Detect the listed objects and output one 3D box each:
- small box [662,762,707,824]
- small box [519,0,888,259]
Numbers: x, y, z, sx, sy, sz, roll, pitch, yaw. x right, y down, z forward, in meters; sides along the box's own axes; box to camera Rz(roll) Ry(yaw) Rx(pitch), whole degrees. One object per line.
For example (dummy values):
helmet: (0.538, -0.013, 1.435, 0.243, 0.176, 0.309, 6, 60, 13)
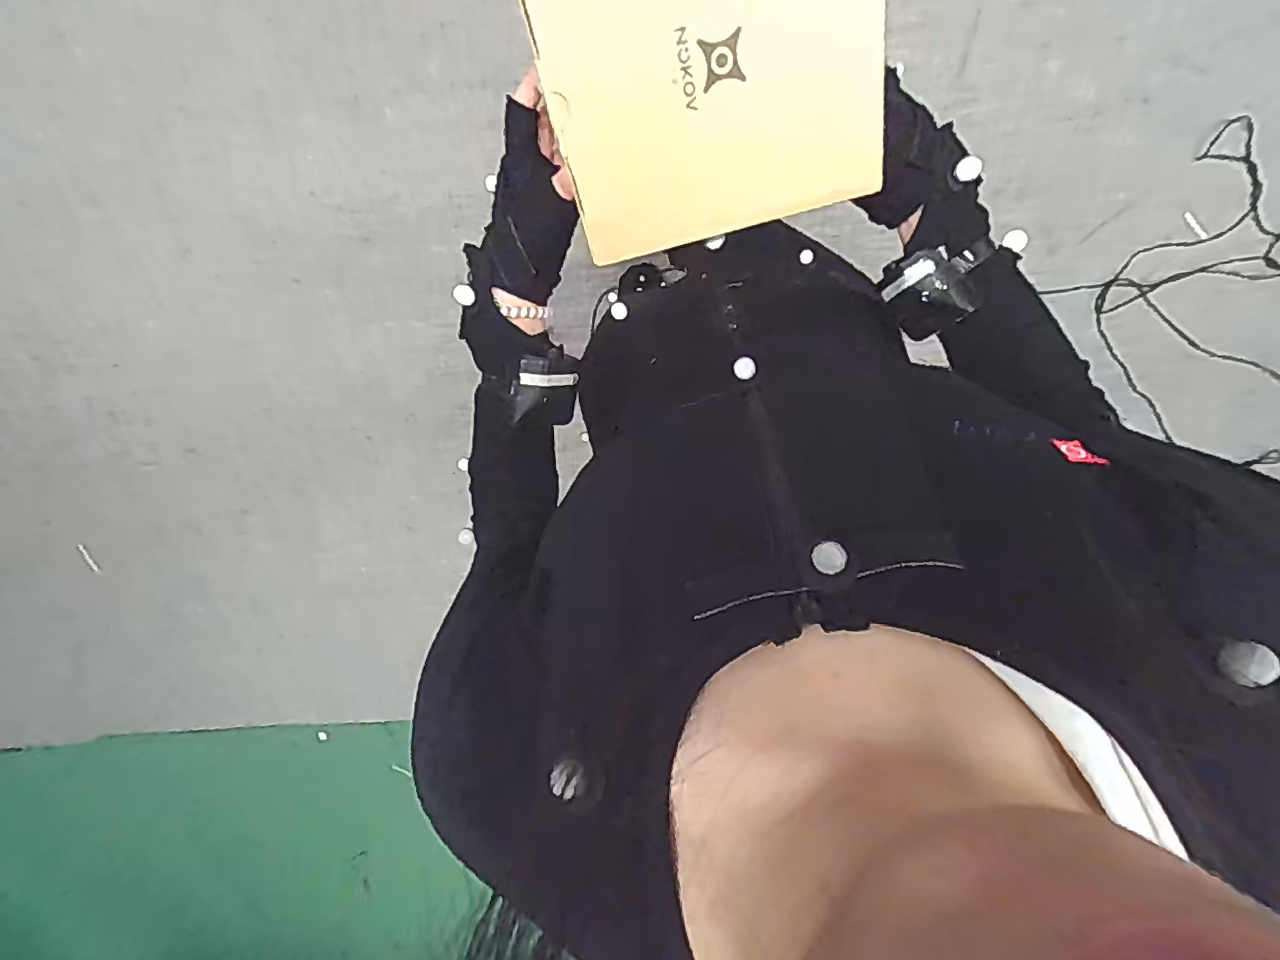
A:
small box: (0.188, 1.332, 2.306, 0.179, 0.176, 0.168, -6, 120, 1)
small box: (0.032, -0.261, 0.333, 0.179, 0.176, 0.168, -13, 126, 6)
